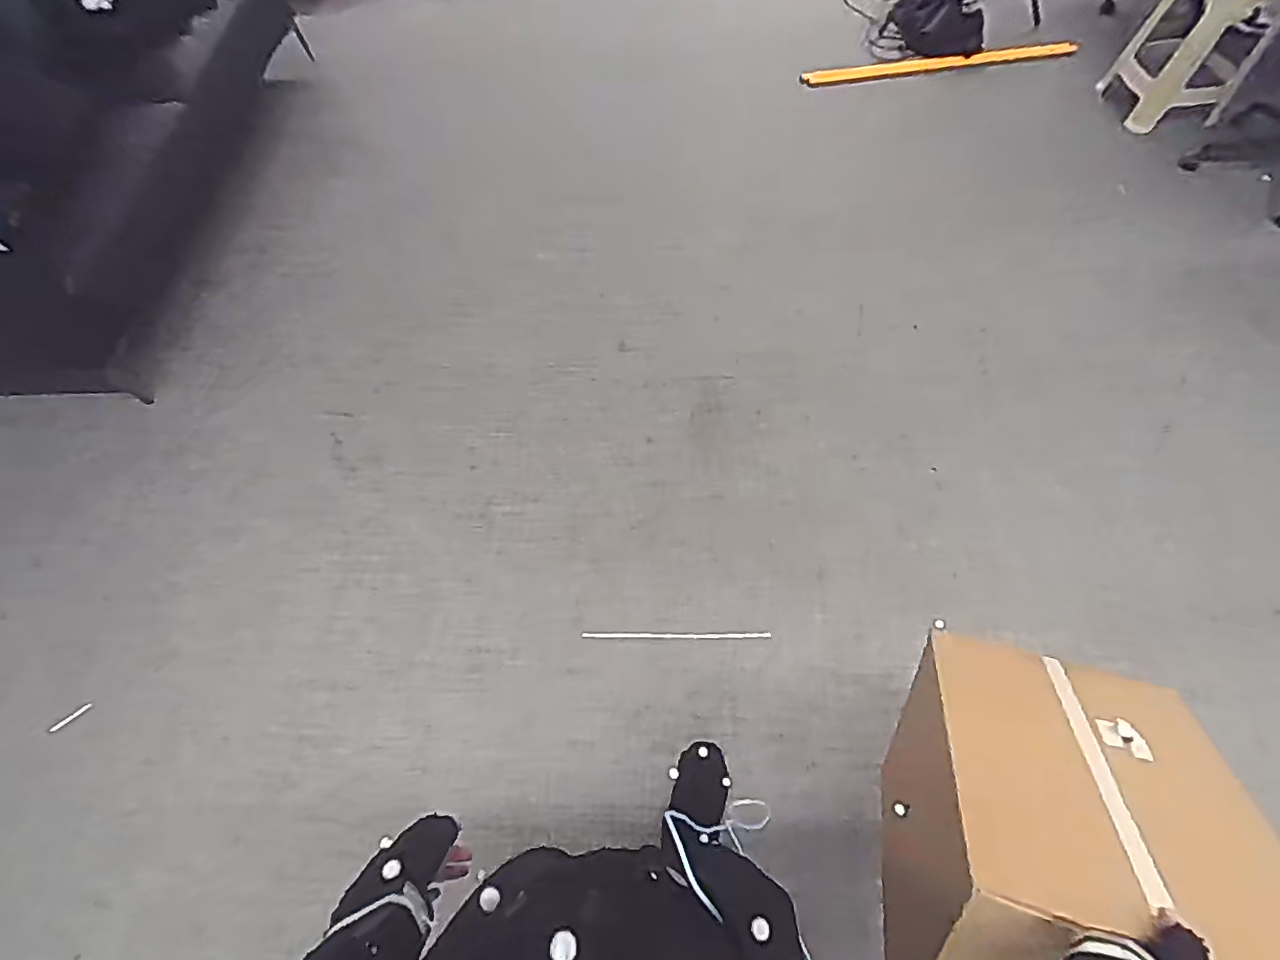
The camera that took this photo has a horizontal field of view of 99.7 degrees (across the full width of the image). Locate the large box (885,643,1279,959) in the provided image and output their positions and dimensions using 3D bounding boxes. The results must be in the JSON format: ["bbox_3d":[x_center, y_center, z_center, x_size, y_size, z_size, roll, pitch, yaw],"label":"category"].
[{"bbox_3d":[0.509,0.487,0.677,0.320,0.320,0.408,14,24,18],"label":"large box"}]
